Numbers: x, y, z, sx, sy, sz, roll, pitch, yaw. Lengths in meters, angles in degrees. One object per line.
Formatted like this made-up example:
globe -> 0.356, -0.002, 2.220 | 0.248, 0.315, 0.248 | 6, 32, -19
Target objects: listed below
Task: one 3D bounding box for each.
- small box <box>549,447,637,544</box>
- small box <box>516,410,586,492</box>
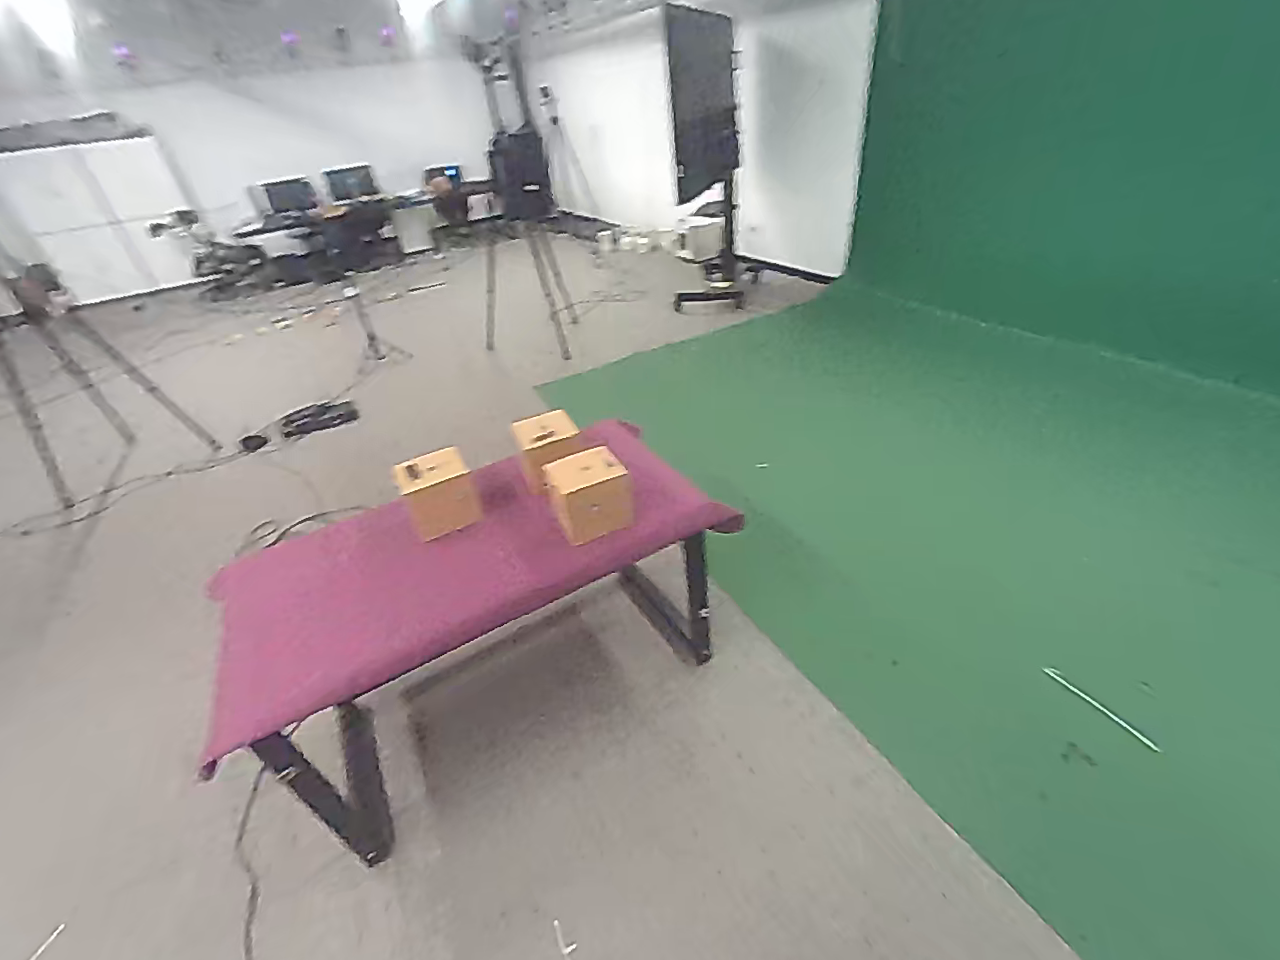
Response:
small box -> -0.122, 0.042, 1.432 | 0.179, 0.176, 0.168 | -20, 36, -16
small box -> -0.259, -0.082, 1.631 | 0.168, 0.176, 0.179 | -19, 37, -16
